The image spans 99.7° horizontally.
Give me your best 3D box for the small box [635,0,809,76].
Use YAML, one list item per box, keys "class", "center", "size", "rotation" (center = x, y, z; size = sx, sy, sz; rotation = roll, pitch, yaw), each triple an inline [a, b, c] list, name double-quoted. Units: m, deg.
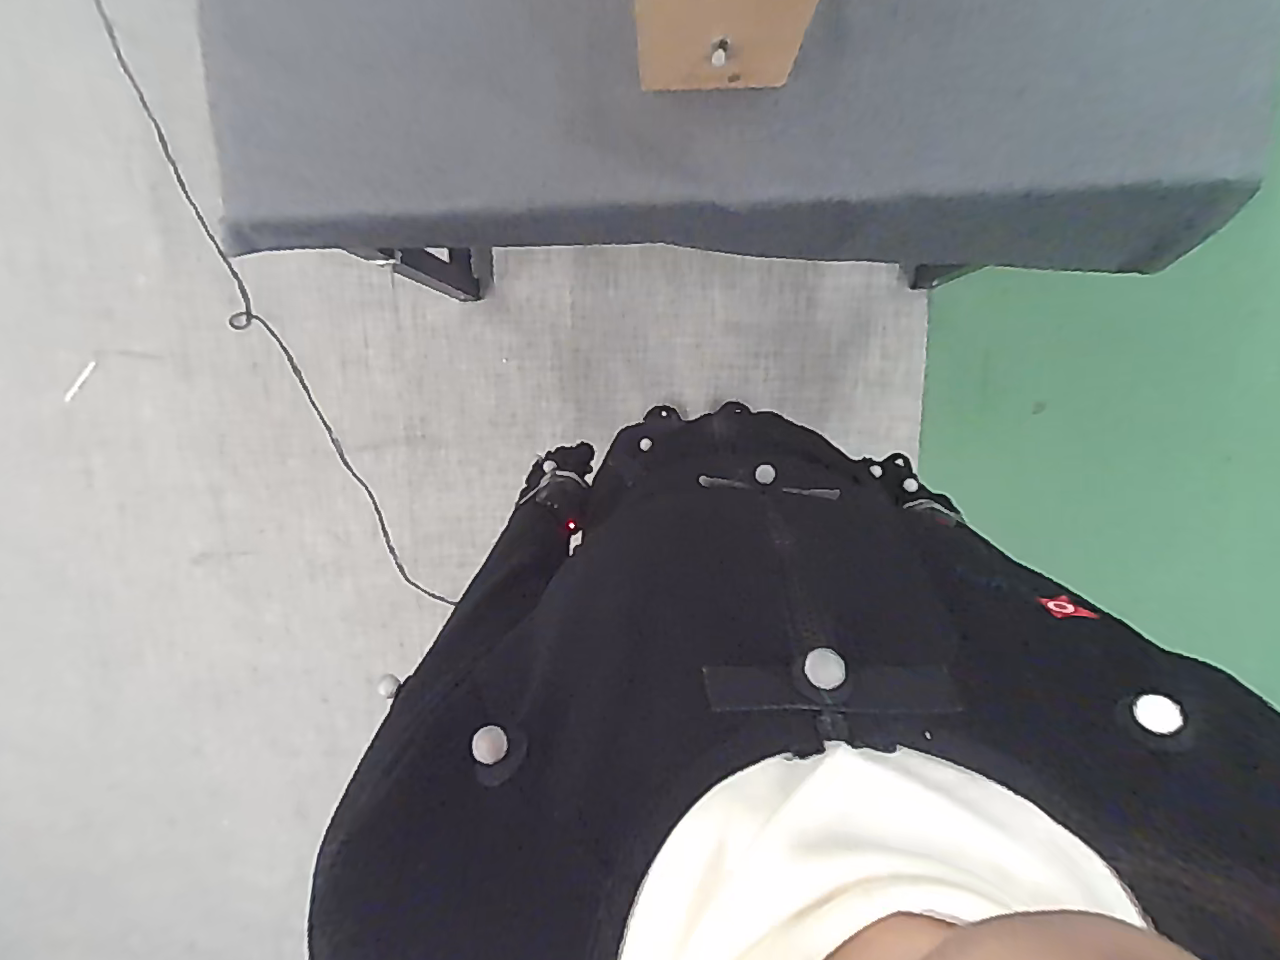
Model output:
- class: "small box"
  center: [0.079, -0.525, 0.523]
  size: [0.168, 0.176, 0.179]
  rotation: [-1, 100, 4]
